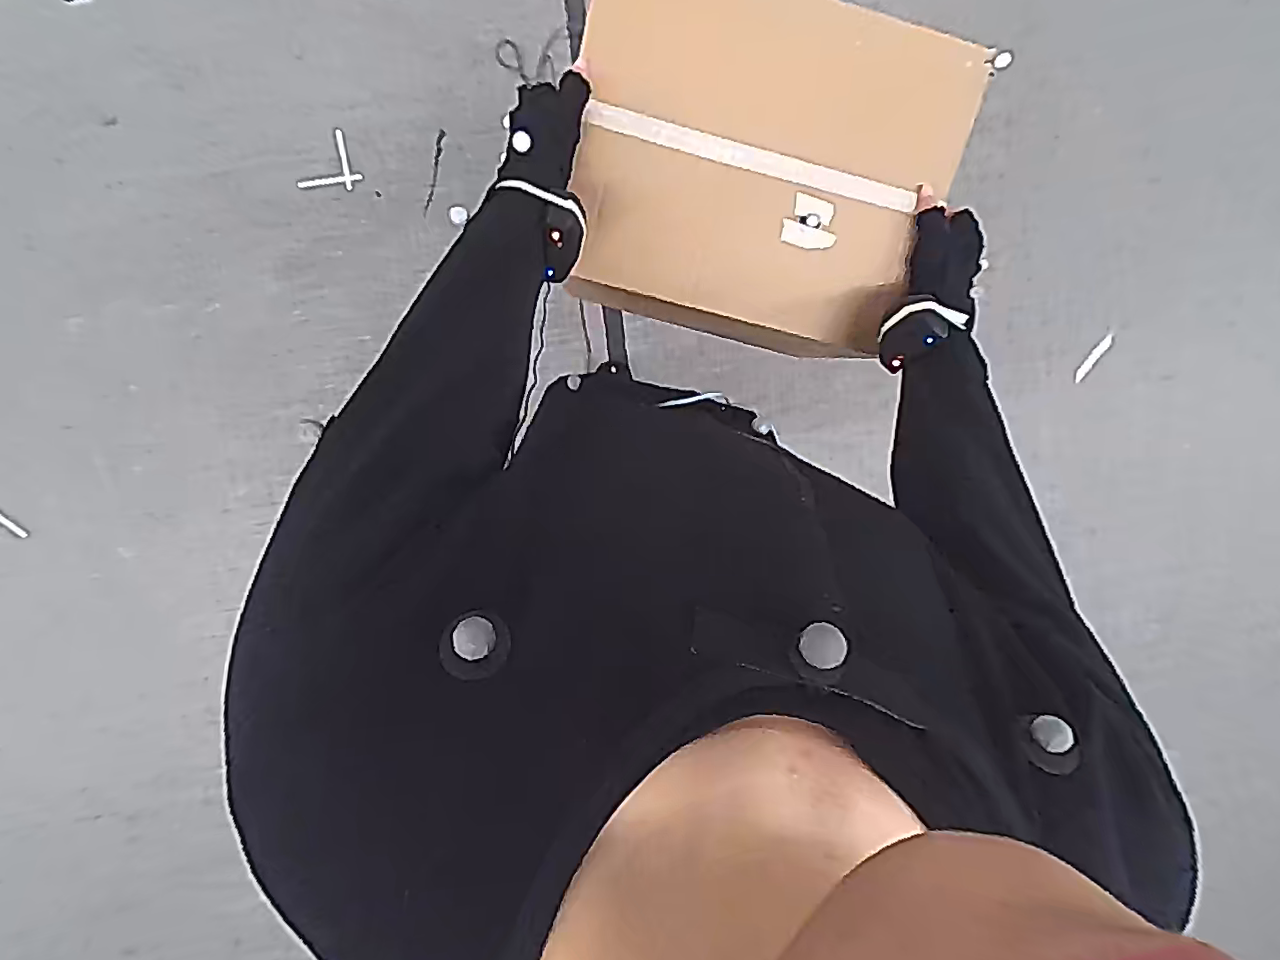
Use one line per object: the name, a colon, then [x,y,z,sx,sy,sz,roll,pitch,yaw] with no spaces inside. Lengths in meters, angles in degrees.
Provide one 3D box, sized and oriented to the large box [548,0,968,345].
large box: [0.112,-0.376,0.723,0.408,0.320,0.320,12,104,-6]
